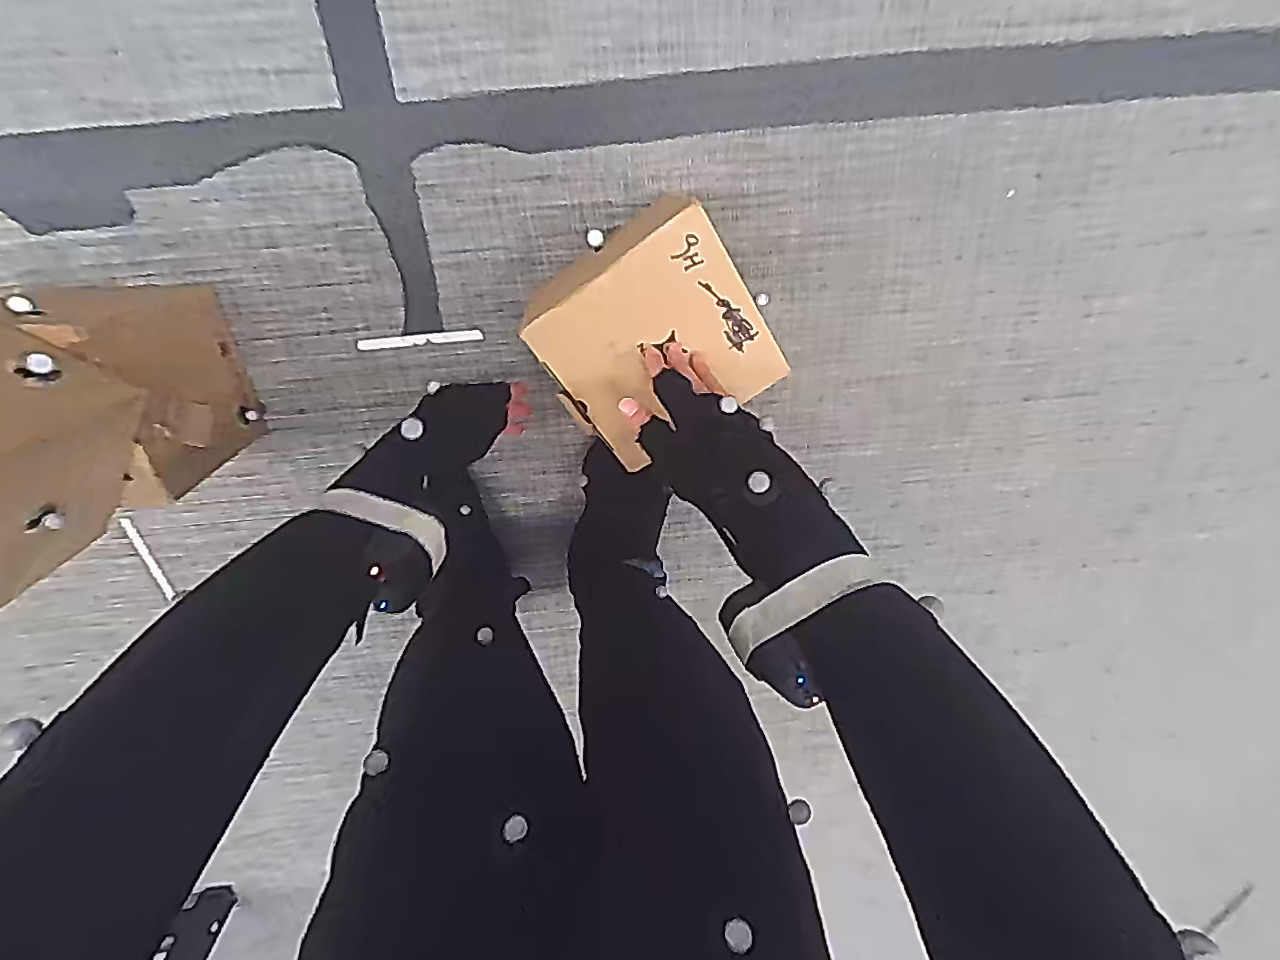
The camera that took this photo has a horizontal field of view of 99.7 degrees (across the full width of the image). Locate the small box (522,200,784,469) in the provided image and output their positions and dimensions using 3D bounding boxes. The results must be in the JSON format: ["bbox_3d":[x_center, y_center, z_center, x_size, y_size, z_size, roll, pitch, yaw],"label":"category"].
[{"bbox_3d":[0.011,-0.148,0.533,0.179,0.176,0.168,-31,119,13],"label":"small box"}]

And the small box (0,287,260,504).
[{"bbox_3d":[-0.512,-0.088,0.523,0.179,0.176,0.168,-2,119,-3],"label":"small box"}]

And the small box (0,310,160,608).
[{"bbox_3d":[-0.500,-0.016,0.372,0.179,0.176,0.168,29,113,-19],"label":"small box"}]
